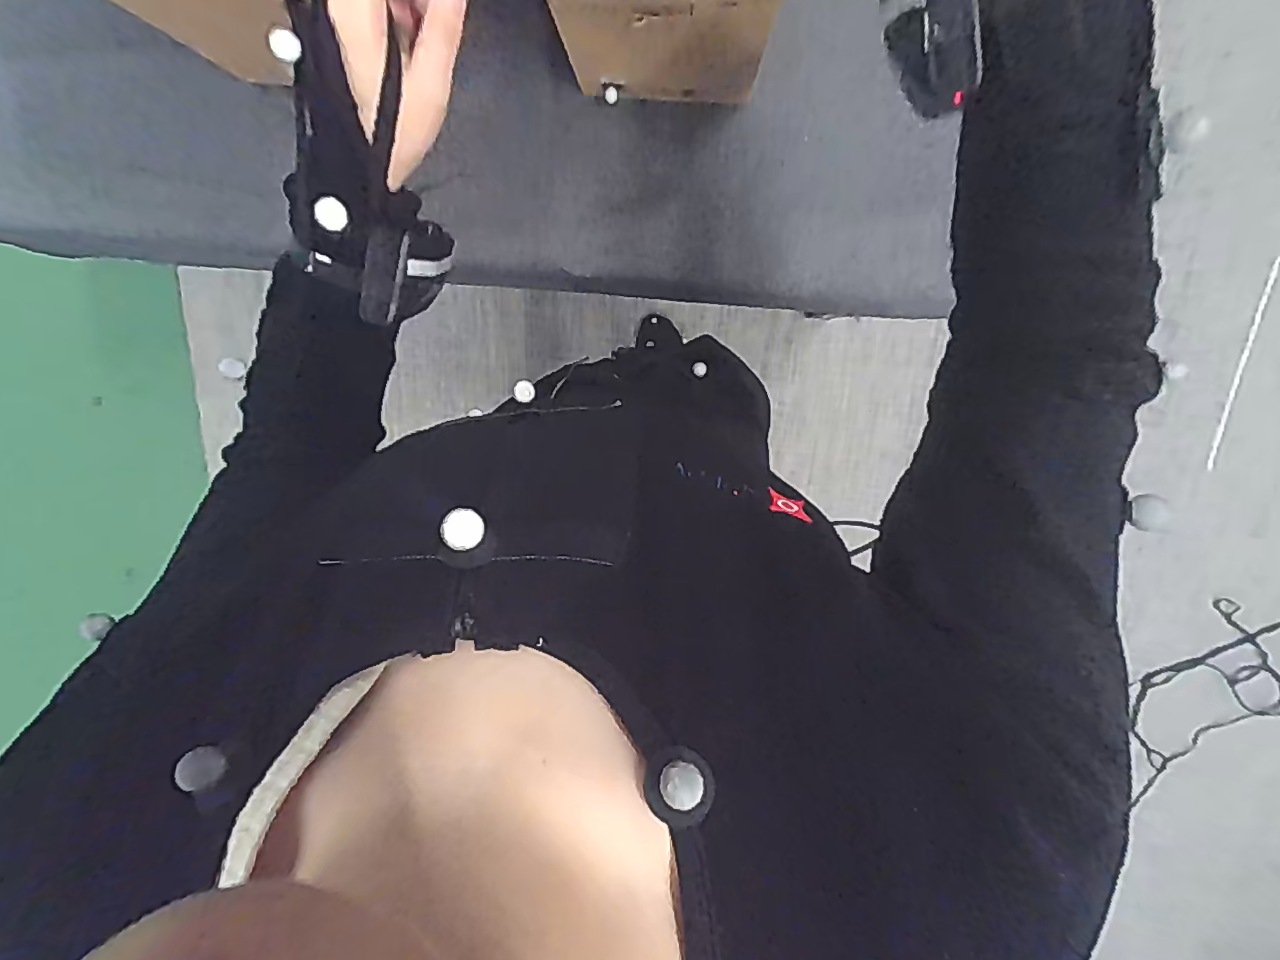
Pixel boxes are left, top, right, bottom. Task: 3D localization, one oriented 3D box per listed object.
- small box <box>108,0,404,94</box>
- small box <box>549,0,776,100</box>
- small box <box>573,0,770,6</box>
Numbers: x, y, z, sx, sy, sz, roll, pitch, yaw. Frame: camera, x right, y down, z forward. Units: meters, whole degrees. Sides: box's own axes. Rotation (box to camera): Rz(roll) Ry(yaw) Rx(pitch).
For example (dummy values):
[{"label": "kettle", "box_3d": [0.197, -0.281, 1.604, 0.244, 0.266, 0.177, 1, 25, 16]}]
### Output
[{"label": "small box", "box_3d": [-0.311, -0.449, 0.446, 0.179, 0.176, 0.168, 5, 103, 2]}, {"label": "small box", "box_3d": [0.026, -0.434, 0.430, 0.168, 0.176, 0.179, 4, 104, 2]}, {"label": "small box", "box_3d": [0.018, -0.390, 0.270, 0.168, 0.176, 0.179, 1, 104, 4]}]
